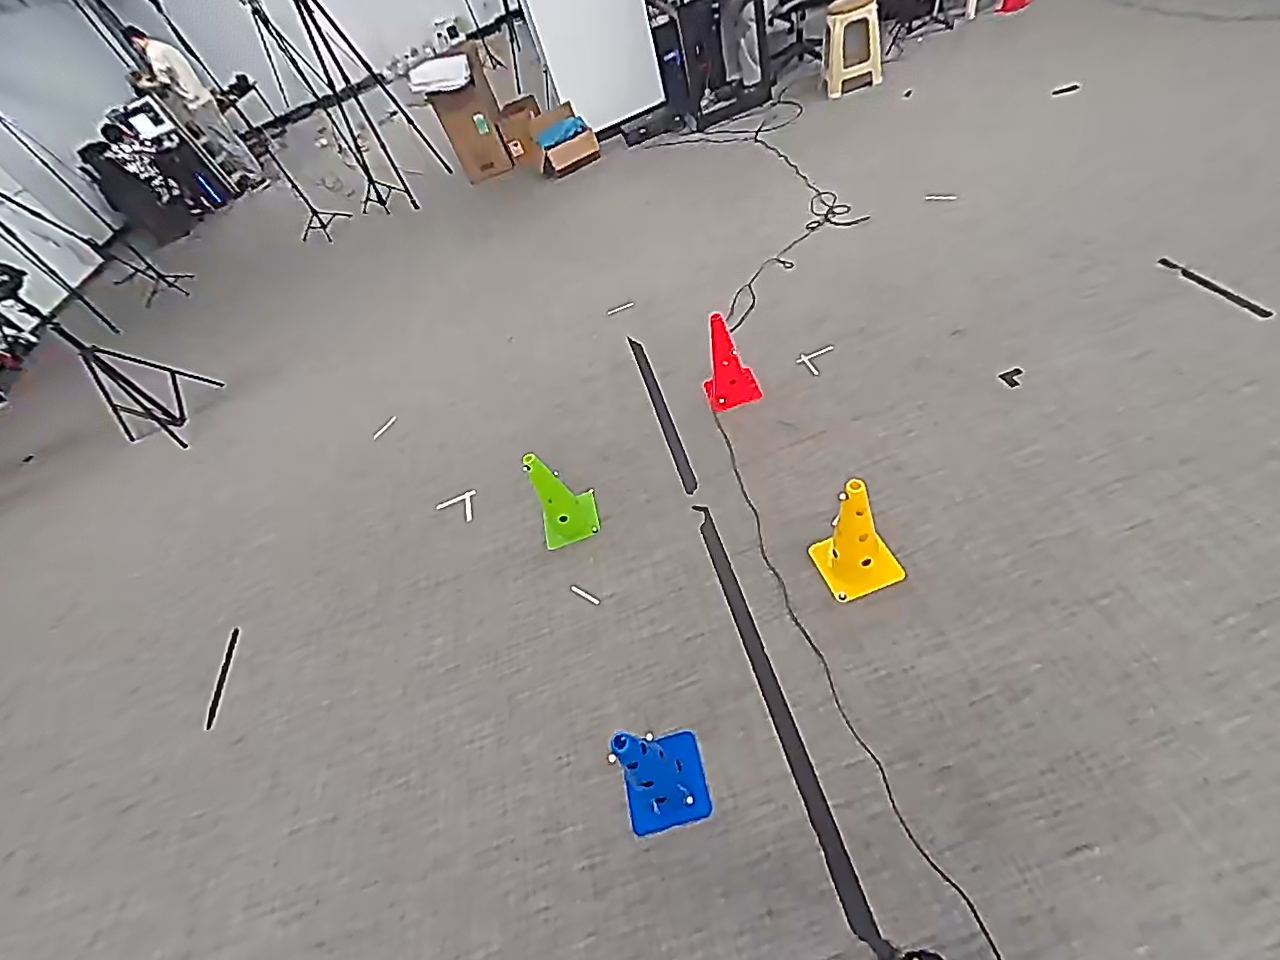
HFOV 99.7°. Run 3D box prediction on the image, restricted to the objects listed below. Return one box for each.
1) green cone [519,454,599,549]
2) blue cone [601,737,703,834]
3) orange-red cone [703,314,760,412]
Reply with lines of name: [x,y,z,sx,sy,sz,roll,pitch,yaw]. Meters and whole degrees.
green cone: [-0.305,0.037,1.829,0.202,0.368,0.200,-22,47,5]
blue cone: [0.003,0.644,1.211,0.192,0.380,0.193,-19,47,7]
orange-red cone: [0.313,-0.460,2.013,0.199,0.360,0.198,-17,49,6]
